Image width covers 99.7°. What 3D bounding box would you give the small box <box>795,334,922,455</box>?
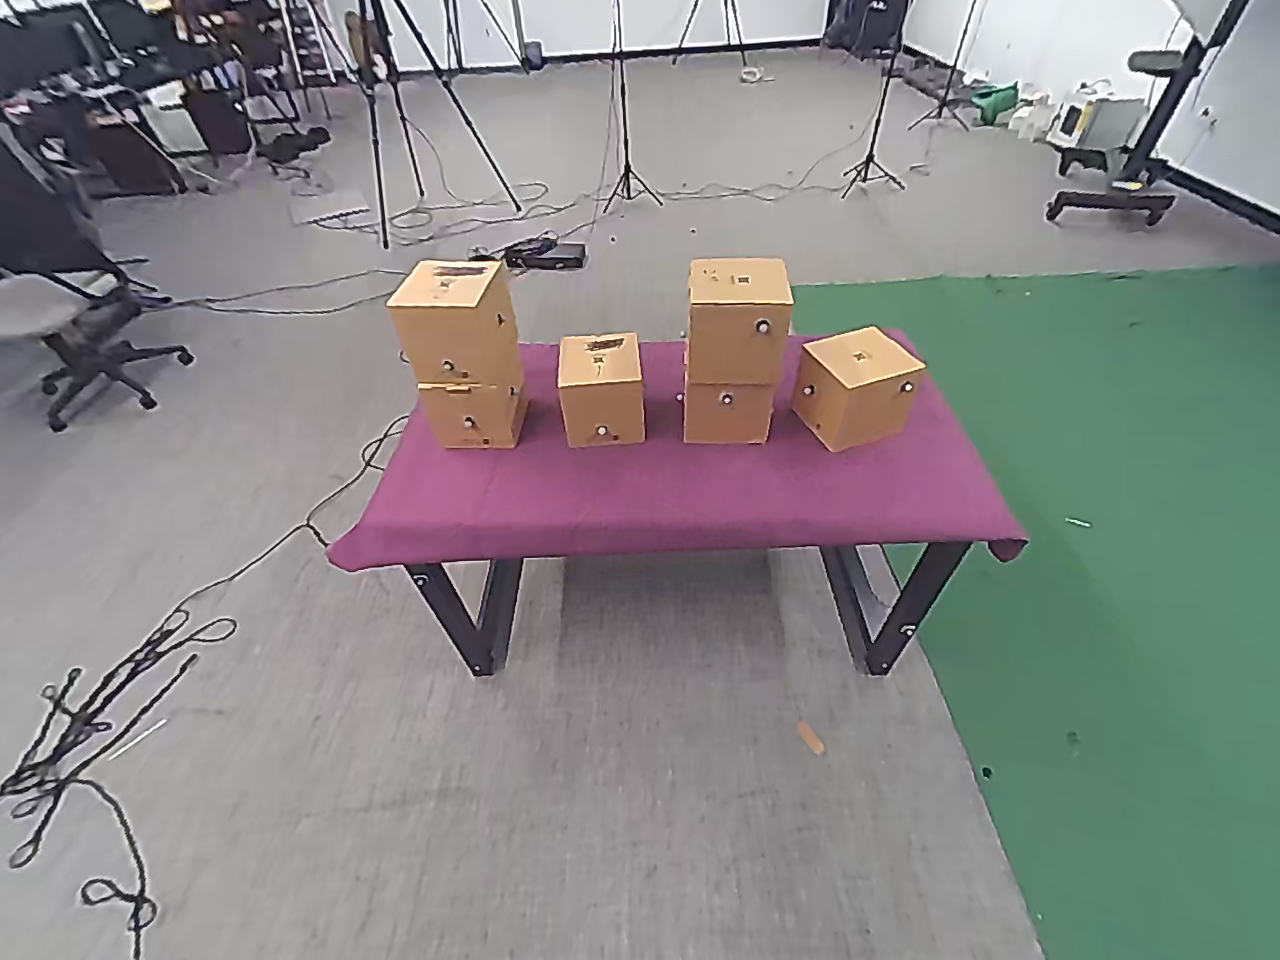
[{"bbox_3d":[0.438,-0.175,1.122,0.179,0.176,0.168,-16,47,-12],"label":"small box"}]

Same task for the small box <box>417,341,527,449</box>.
[{"bbox_3d":[-0.348,-0.180,1.164,0.168,0.176,0.179,1,47,3],"label":"small box"}]

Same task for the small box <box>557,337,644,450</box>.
[{"bbox_3d":[-0.080,-0.184,1.154,0.168,0.176,0.179,-4,46,-1],"label":"small box"}]

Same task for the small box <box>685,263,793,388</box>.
[{"bbox_3d":[0.178,-0.287,1.015,0.179,0.176,0.168,2,46,5],"label":"small box"}]

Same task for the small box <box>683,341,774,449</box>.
[{"bbox_3d":[0.179,-0.179,1.139,0.179,0.176,0.168,2,47,4],"label":"small box"}]
